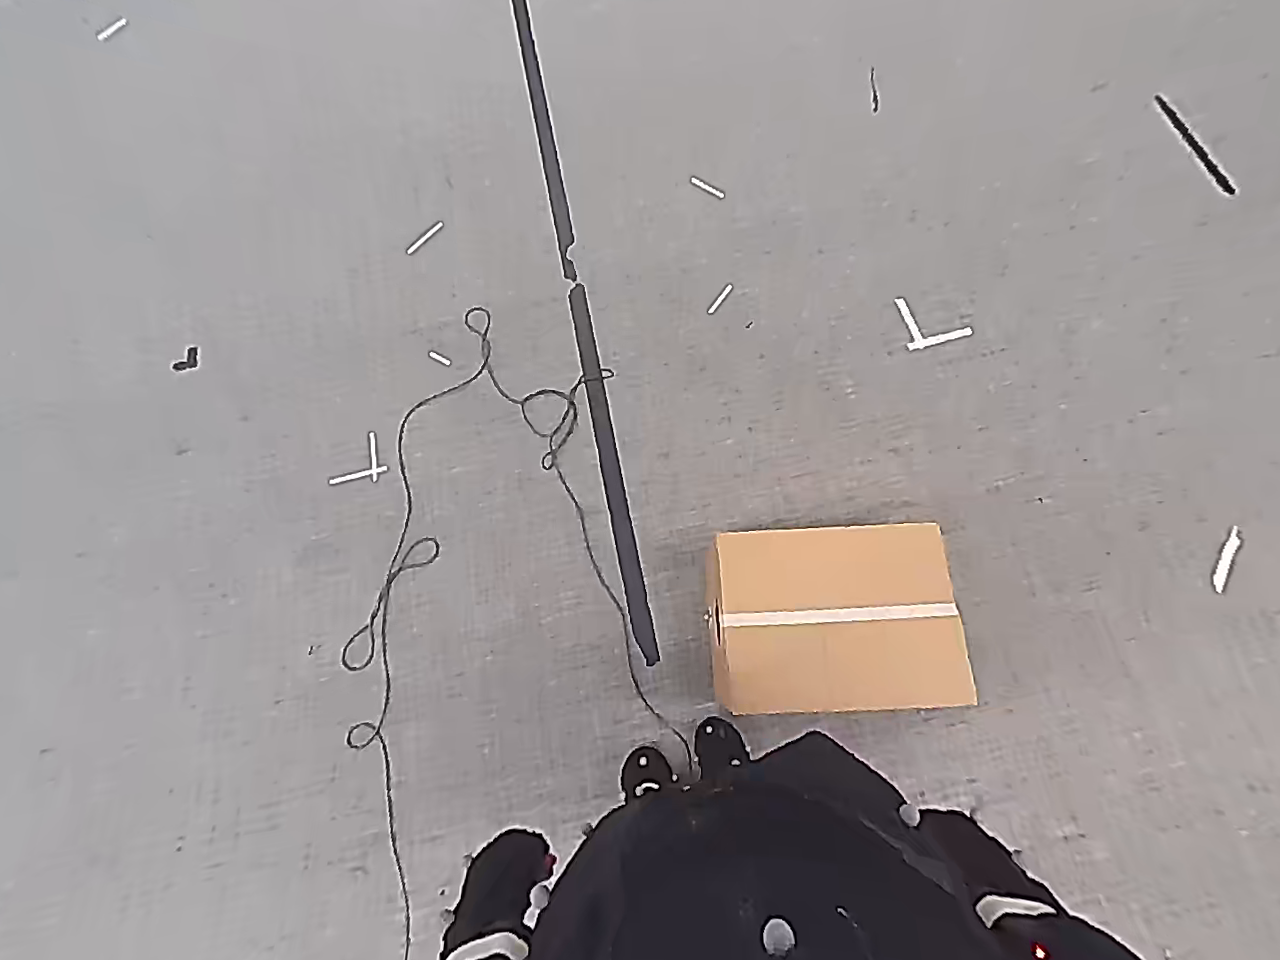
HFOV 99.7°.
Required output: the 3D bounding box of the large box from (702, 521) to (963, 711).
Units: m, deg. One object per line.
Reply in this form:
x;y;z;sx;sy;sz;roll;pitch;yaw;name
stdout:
0.345;0.277;1.092;0.408;0.320;0.320;-3;71;2;large box
